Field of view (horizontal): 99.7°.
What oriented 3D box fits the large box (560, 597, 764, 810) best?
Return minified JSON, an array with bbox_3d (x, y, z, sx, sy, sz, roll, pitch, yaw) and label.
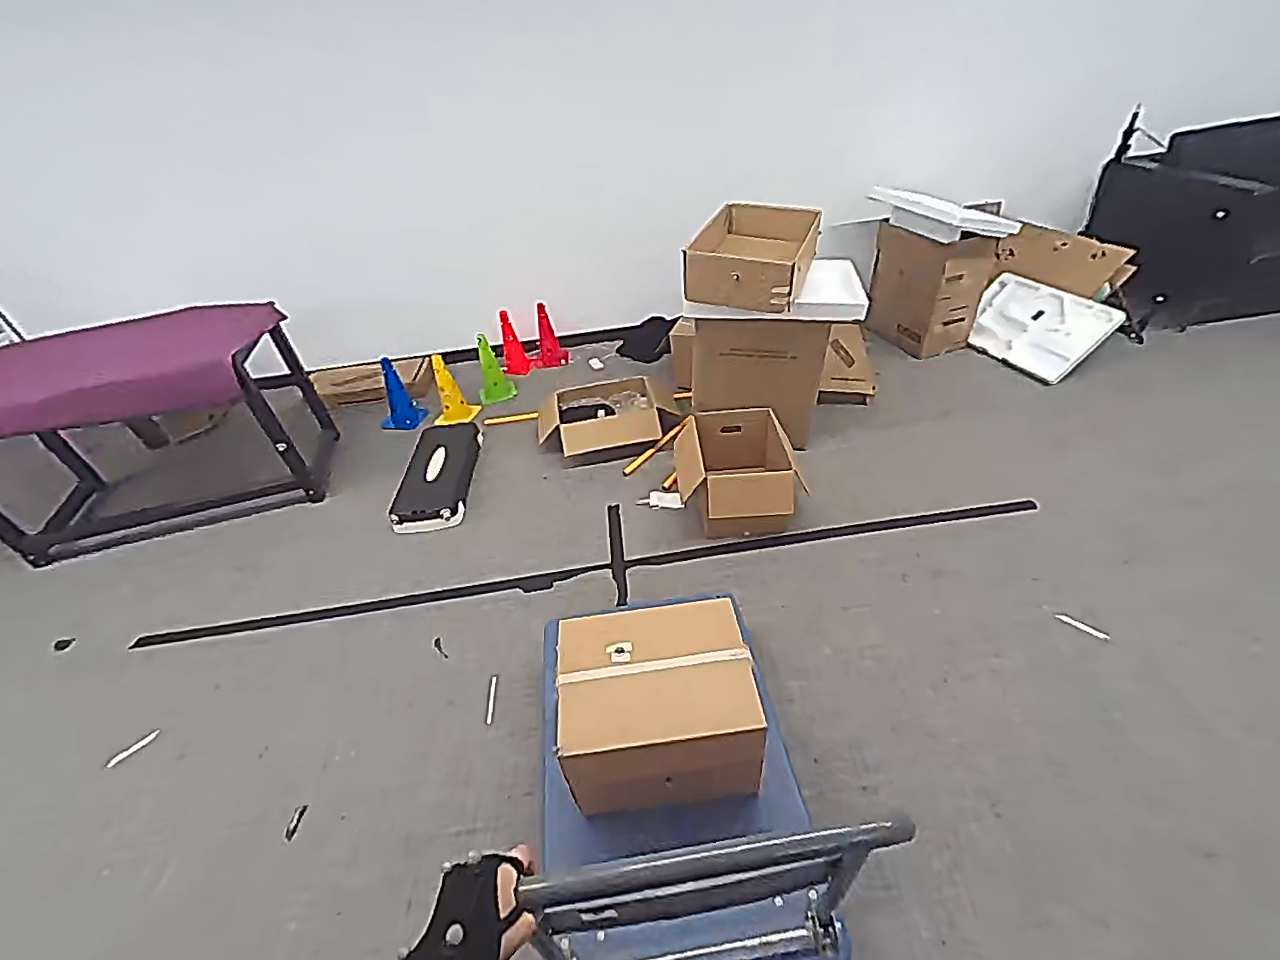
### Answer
[{"bbox_3d":[0.043,0.514,1.249,0.408,0.320,0.320,-8,39,-1],"label":"large box"}]
